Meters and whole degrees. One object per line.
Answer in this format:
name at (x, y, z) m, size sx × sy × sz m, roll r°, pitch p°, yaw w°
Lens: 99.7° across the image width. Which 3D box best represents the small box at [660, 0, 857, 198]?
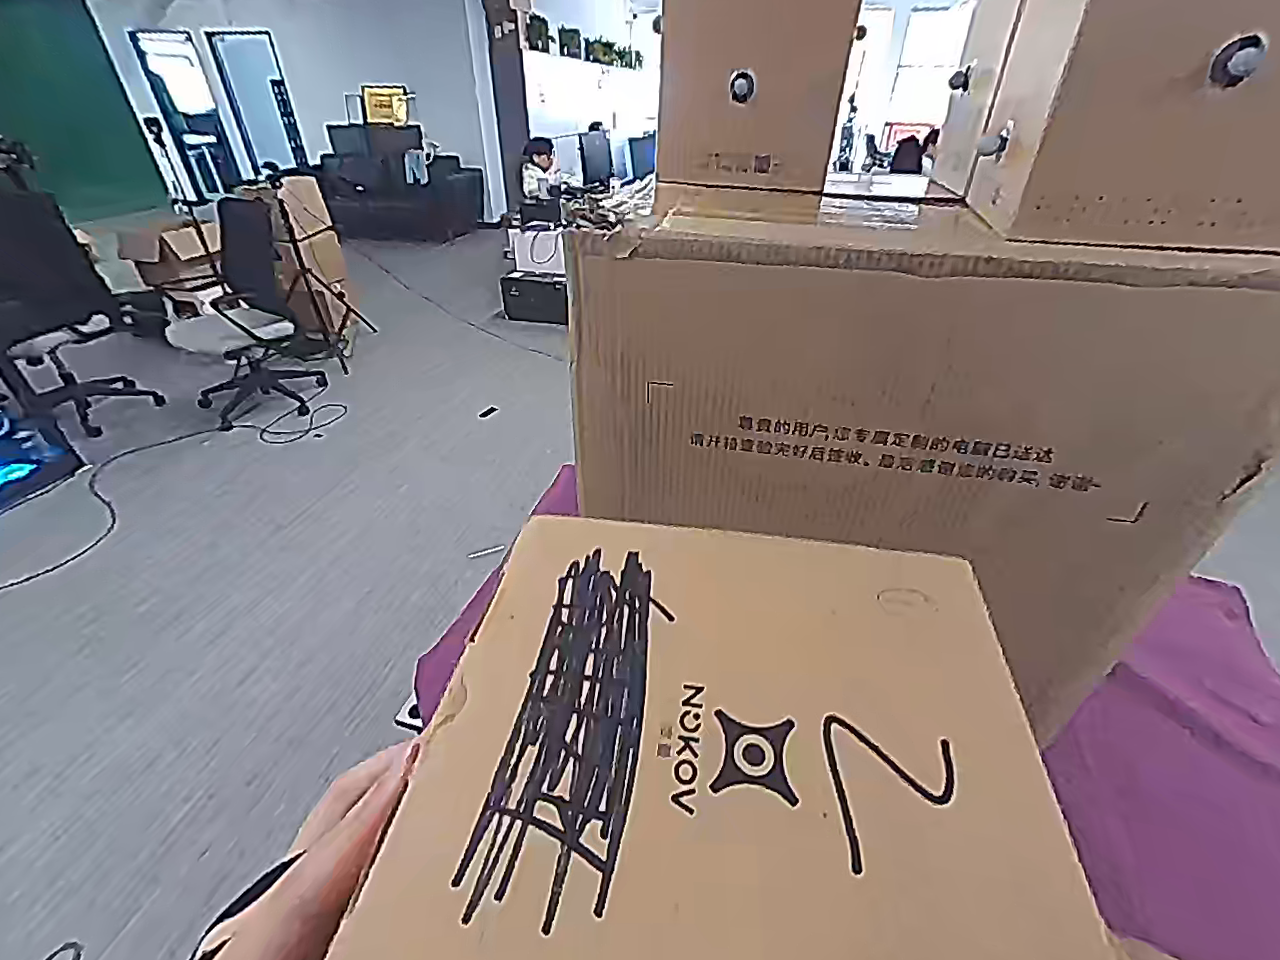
small box at (0.116, -0.393, 0.548) m, size 0.168 × 0.176 × 0.179 m, roll 9°, pitch 36°, yaw 10°
